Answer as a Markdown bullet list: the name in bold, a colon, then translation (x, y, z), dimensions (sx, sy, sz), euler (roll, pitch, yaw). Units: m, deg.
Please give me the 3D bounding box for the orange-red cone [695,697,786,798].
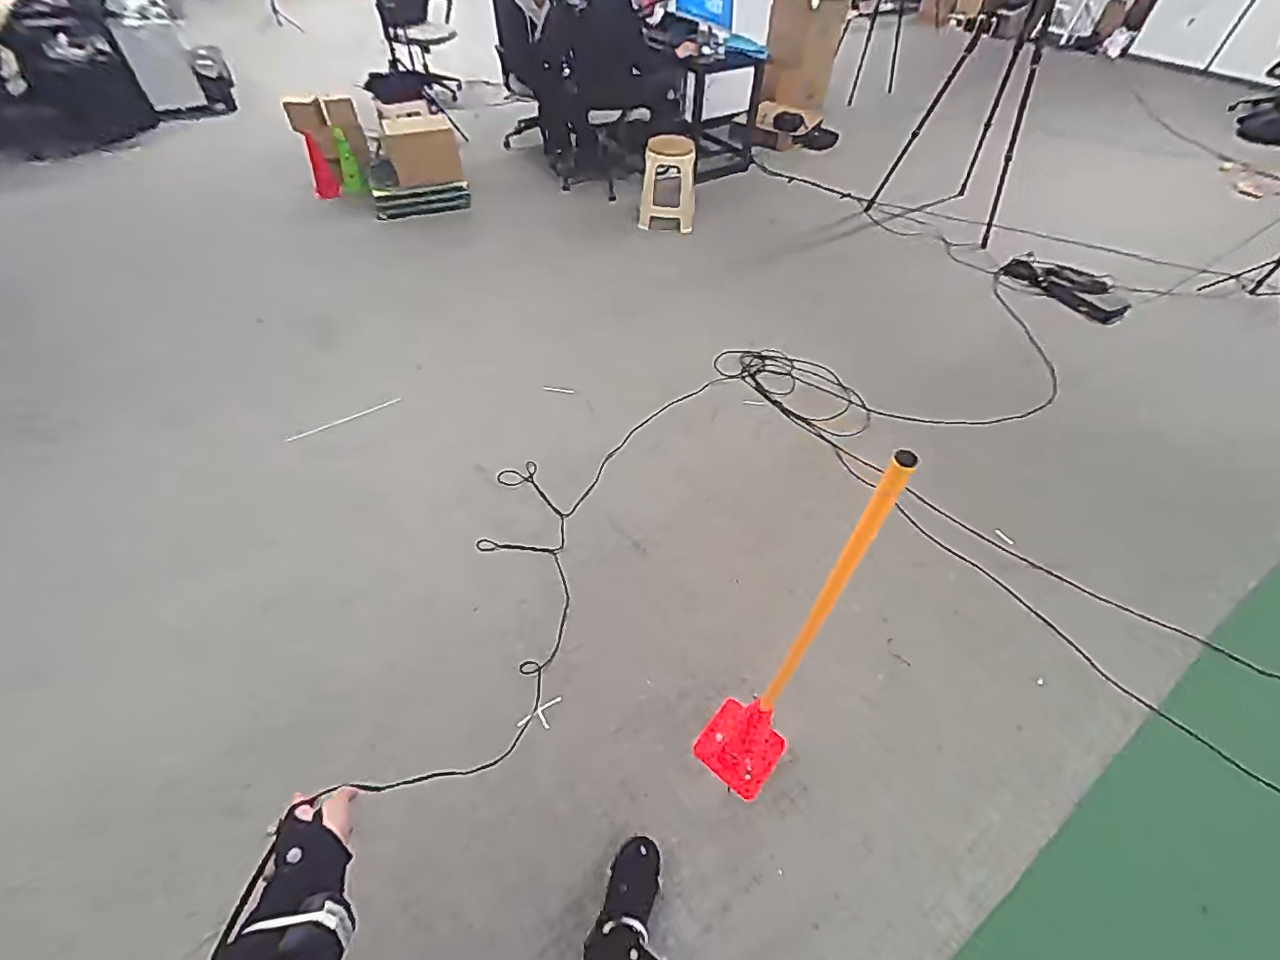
- **orange-red cone**: translation (0.282, 0.622, 1.357), dimensions (0.198, 0.360, 0.199), euler (35, 56, 24)
